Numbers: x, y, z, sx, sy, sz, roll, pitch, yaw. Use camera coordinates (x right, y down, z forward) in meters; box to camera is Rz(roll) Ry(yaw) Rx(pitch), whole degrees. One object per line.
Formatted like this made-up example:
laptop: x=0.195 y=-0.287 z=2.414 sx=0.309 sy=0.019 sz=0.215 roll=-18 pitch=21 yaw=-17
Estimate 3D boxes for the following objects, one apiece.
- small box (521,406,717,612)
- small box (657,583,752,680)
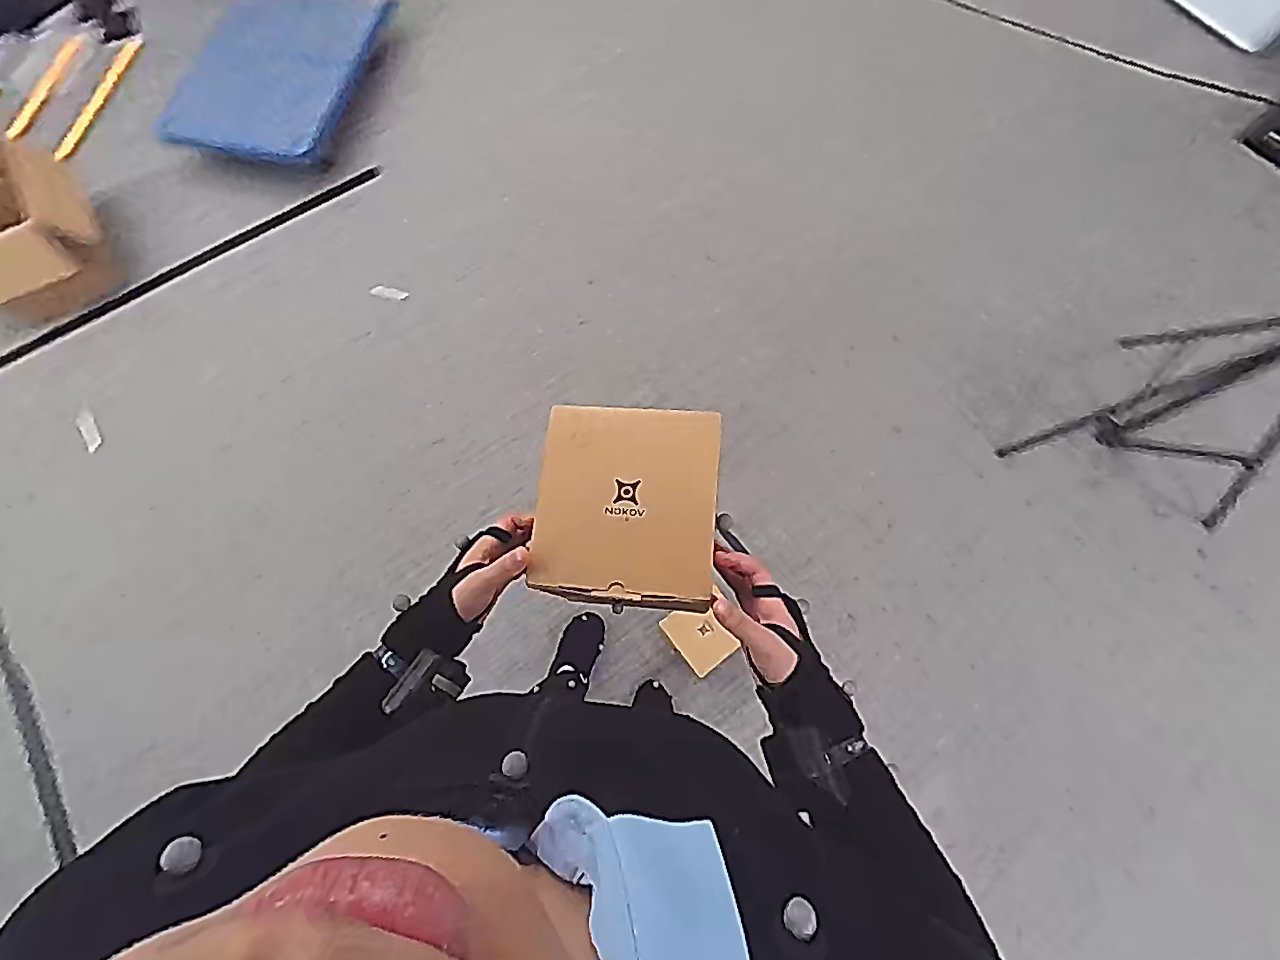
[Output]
small box: x=-0.010 y=0.038 z=0.560 sx=0.168 sy=0.176 sz=0.179 roll=2 pitch=74 yaw=7
small box: x=0.160 y=0.393 z=1.393 sx=0.179 sy=0.176 sz=0.168 roll=-35 pitch=75 yaw=-11
